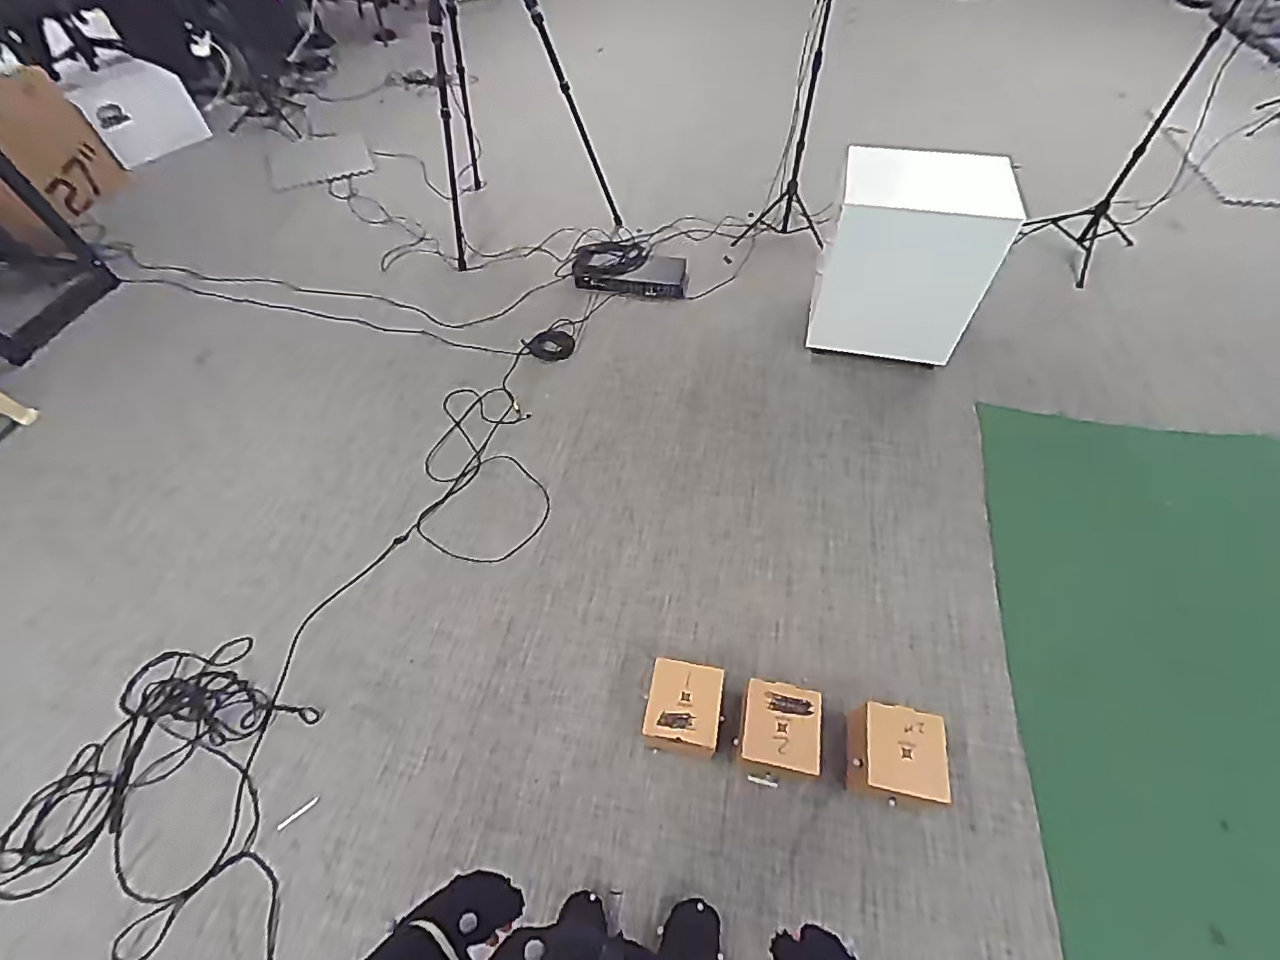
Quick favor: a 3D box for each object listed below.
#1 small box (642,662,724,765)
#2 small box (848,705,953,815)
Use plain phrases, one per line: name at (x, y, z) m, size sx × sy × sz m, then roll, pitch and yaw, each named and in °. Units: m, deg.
small box at (0.106, 0.559, 1.287) m, size 0.168 × 0.176 × 0.179 m, roll 8°, pitch 53°, yaw 9°
small box at (0.575, 0.632, 1.214) m, size 0.168 × 0.176 × 0.179 m, roll 10°, pitch 55°, yaw 9°
